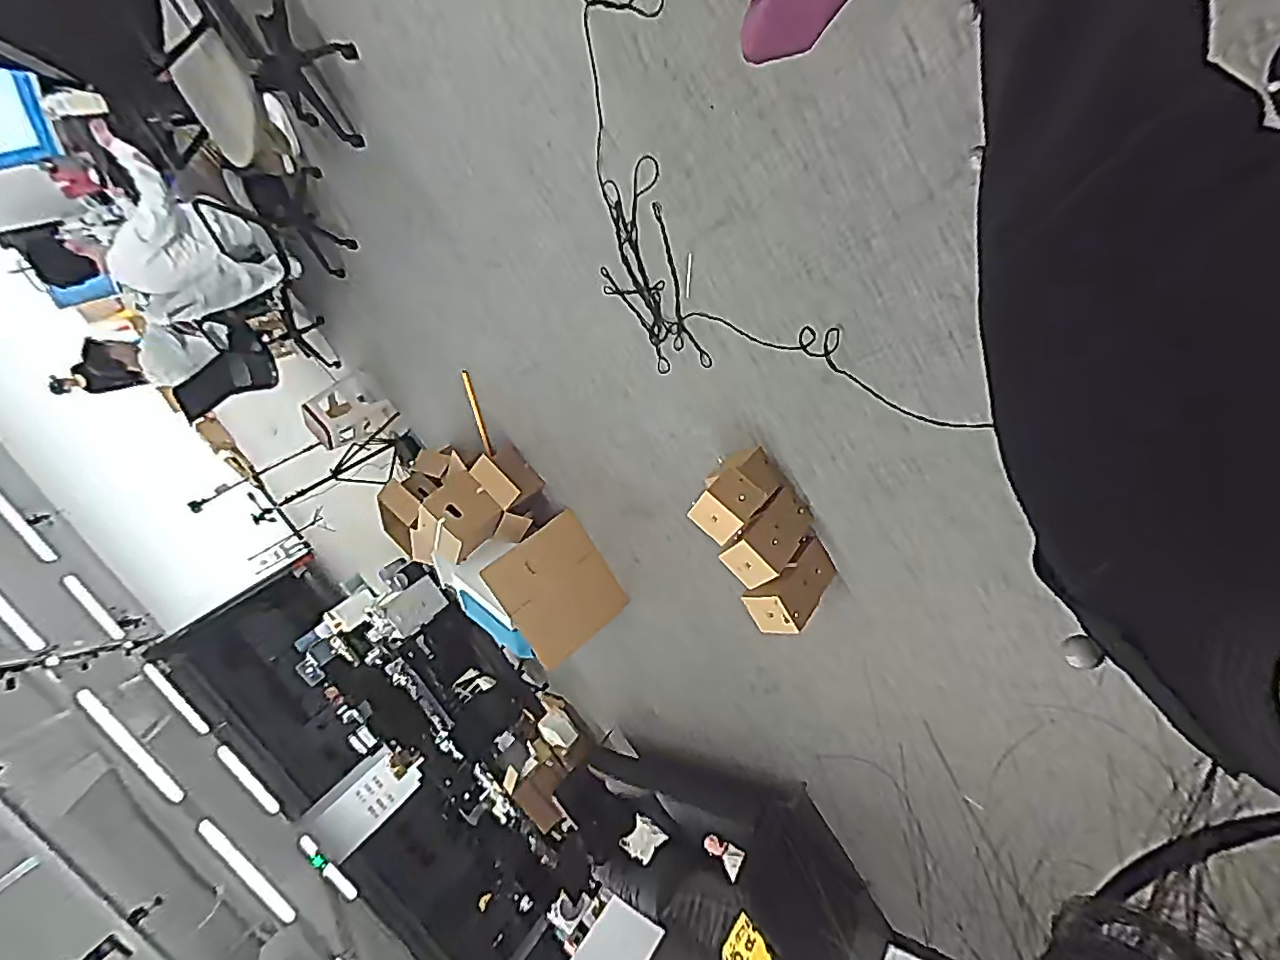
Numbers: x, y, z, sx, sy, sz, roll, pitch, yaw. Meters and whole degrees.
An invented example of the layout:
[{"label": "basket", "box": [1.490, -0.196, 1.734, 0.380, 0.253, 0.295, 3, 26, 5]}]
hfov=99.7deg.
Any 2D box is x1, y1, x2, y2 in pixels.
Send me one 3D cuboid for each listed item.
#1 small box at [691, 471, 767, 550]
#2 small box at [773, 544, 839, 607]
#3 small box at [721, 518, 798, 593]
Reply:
[{"label": "small box", "box": [0.309, 0.099, 1.850, 0.168, 0.176, 0.179, 42, 144, 11]}, {"label": "small box", "box": [0.613, 0.355, 2.033, 0.168, 0.176, 0.179, -20, 107, 53]}, {"label": "small box", "box": [0.422, 0.260, 1.875, 0.168, 0.176, 0.179, 47, 145, 4]}]
